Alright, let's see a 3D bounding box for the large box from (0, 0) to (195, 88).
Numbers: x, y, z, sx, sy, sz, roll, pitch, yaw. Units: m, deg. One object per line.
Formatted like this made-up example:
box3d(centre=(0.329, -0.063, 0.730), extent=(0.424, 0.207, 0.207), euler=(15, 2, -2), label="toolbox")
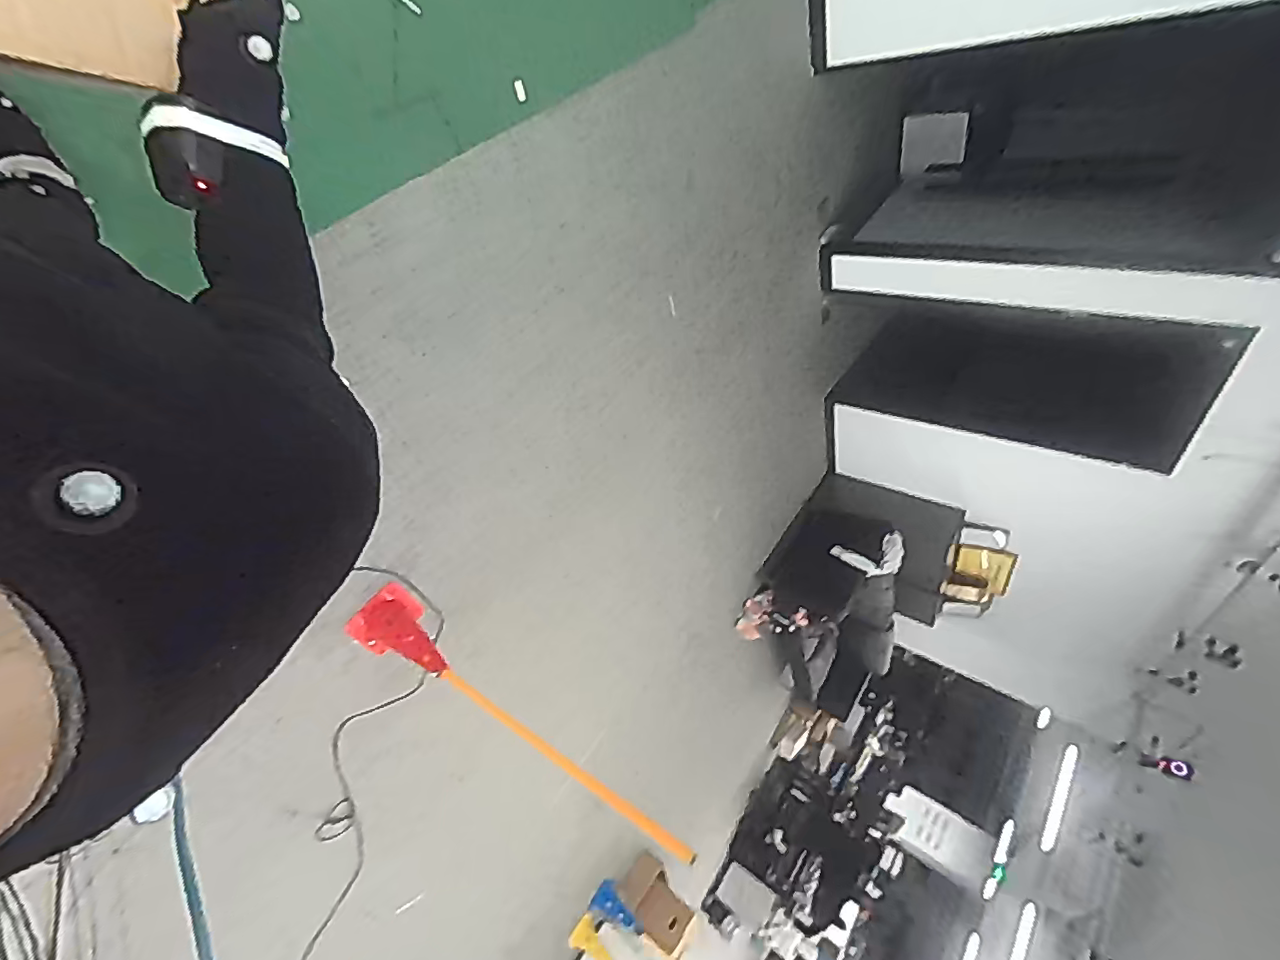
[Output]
box3d(centre=(-0.583, -0.464, 0.314), extent=(0.408, 0.320, 0.320), euler=(-23, 131, -47), label="large box")
